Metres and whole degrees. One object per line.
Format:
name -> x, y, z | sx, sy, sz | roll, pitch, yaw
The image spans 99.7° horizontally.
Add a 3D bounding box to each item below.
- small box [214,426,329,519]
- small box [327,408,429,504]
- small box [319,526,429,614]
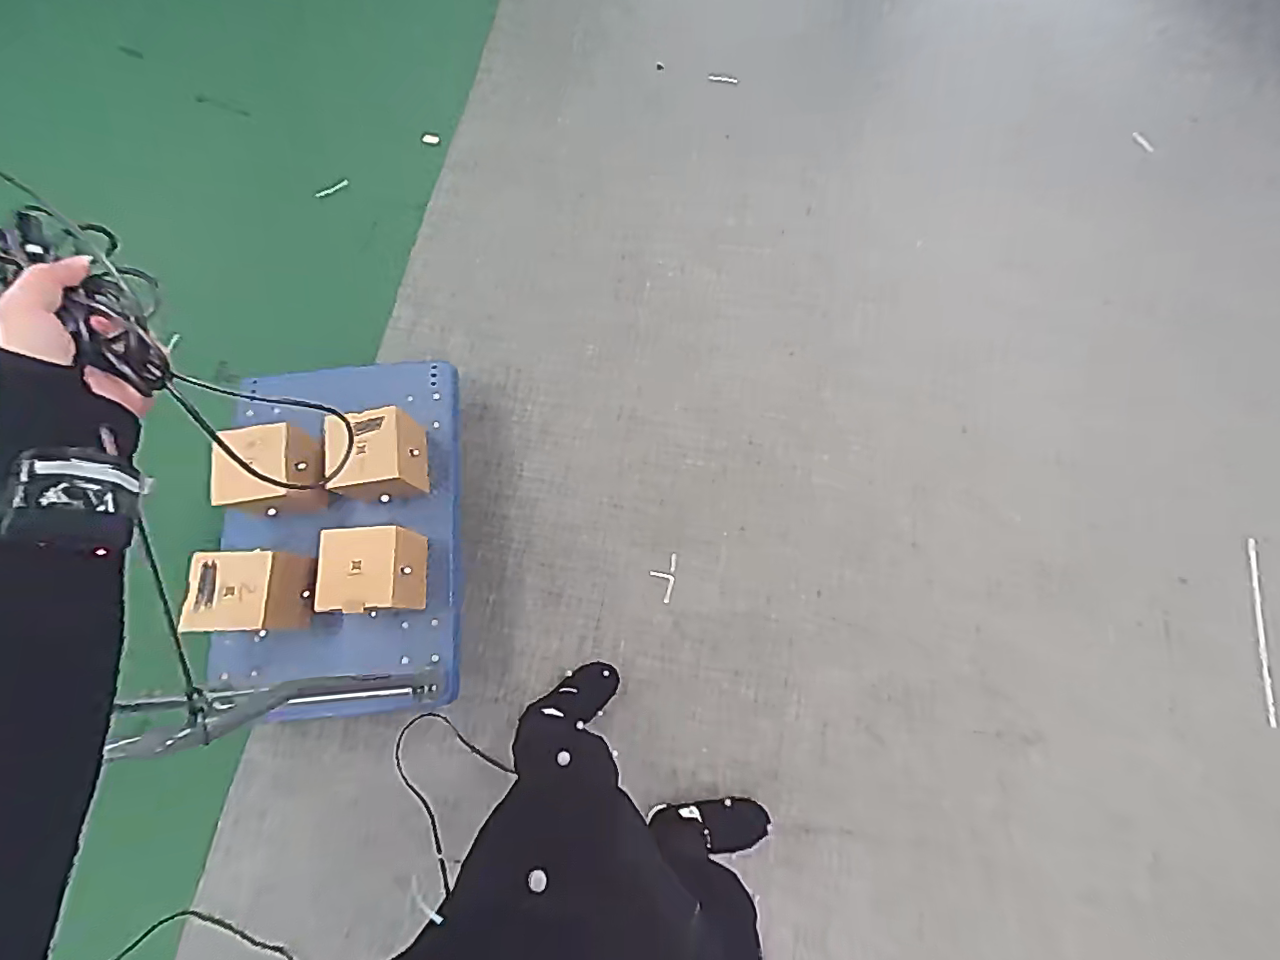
small box -> -0.868, -0.009, 1.287 | 0.168, 0.176, 0.179 | -9, 75, -2
small box -> -0.620, -0.052, 1.292 | 0.168, 0.176, 0.179 | -10, 76, 0
small box -> -0.593, 0.209, 1.225 | 0.168, 0.176, 0.179 | -5, 76, 0
